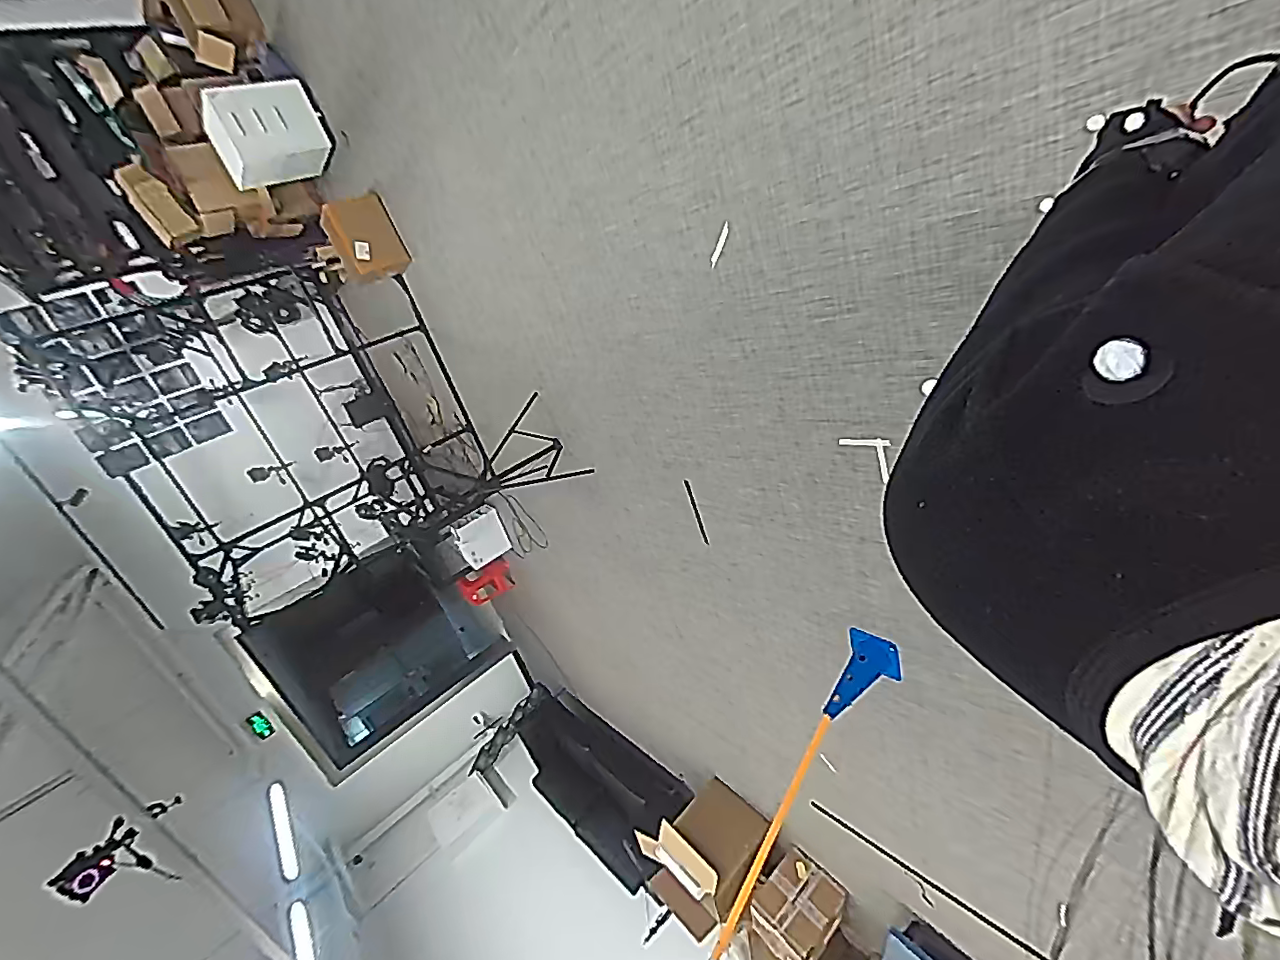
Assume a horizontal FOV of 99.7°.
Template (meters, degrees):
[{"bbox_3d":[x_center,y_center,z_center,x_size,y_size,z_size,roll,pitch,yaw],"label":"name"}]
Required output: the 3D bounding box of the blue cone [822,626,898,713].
[{"bbox_3d":[0.816,0.758,2.070,0.193,0.380,0.192,15,130,48],"label":"blue cone"}]
